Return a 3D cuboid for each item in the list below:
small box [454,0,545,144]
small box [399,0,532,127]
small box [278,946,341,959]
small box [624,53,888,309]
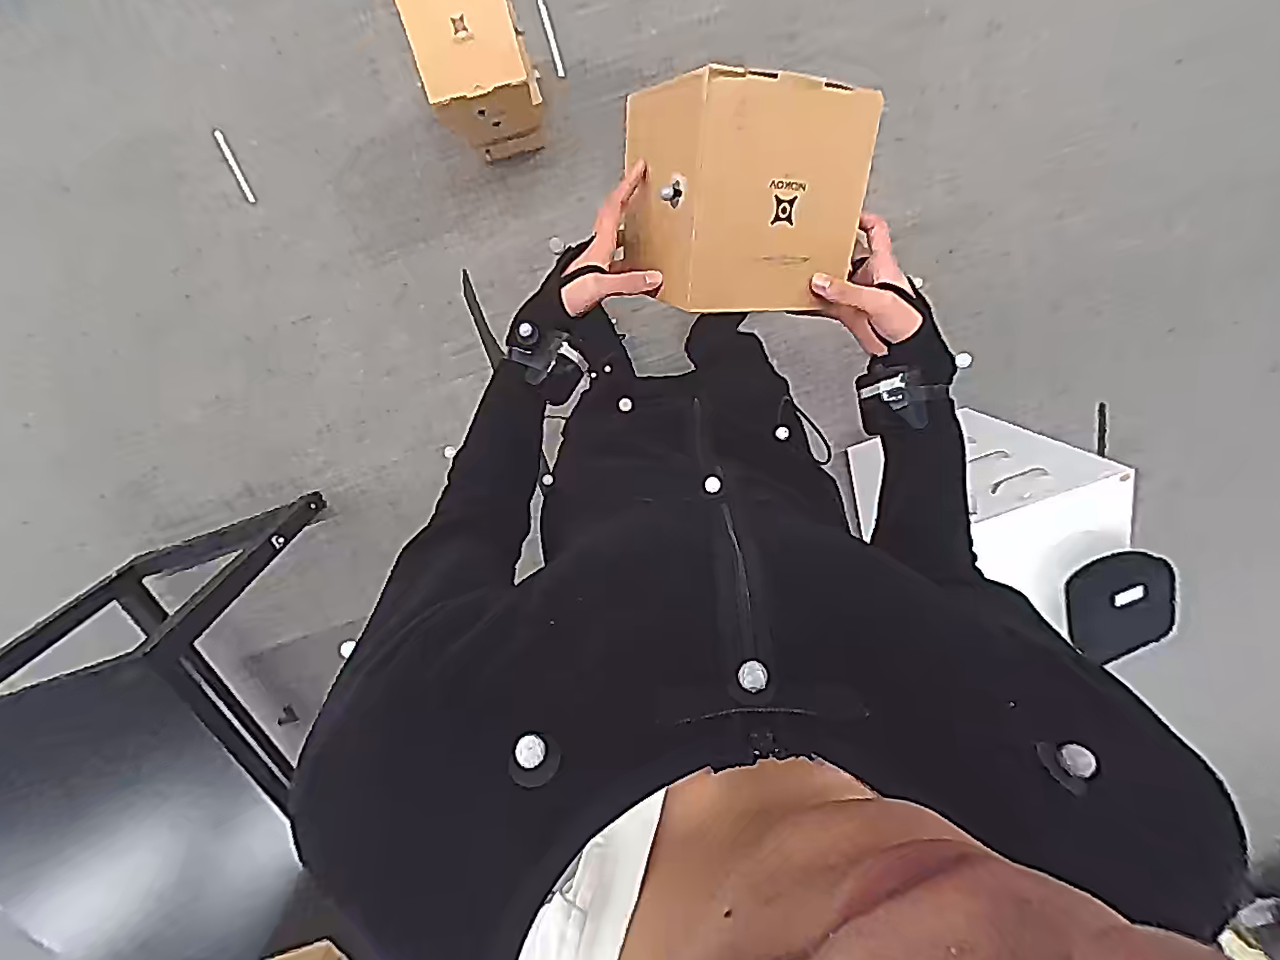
[{"bbox_3d":[-0.296,-0.787,1.062,0.179,0.176,0.168,-18,113,-1],"label":"small box"},{"bbox_3d":[-0.287,-0.730,0.910,0.168,0.176,0.179,-16,113,-2],"label":"small box"},{"bbox_3d":[-0.752,1.171,1.178,0.179,0.176,0.168,-20,113,0],"label":"small box"},{"bbox_3d":[0.091,-0.265,0.509,0.168,0.176,0.179,-8,119,-21],"label":"small box"}]
